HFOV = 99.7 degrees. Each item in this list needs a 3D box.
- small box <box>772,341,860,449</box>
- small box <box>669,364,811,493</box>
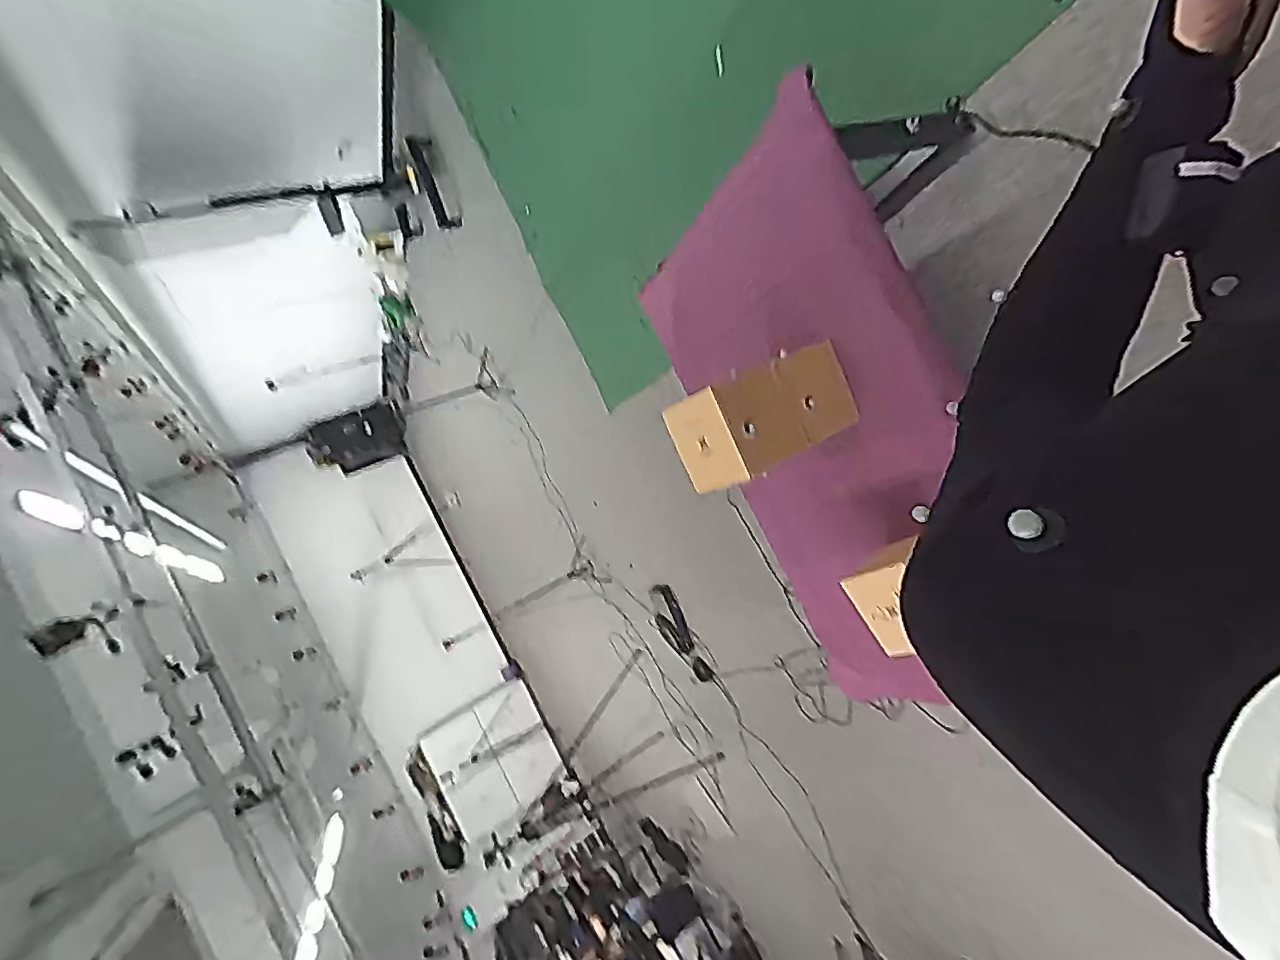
[{"bbox_3d":[0.316,-0.161,1.110,0.168,0.176,0.179,-17,98,60],"label":"small box"},{"bbox_3d":[0.191,-0.096,1.028,0.168,0.176,0.179,-19,96,60],"label":"small box"}]
